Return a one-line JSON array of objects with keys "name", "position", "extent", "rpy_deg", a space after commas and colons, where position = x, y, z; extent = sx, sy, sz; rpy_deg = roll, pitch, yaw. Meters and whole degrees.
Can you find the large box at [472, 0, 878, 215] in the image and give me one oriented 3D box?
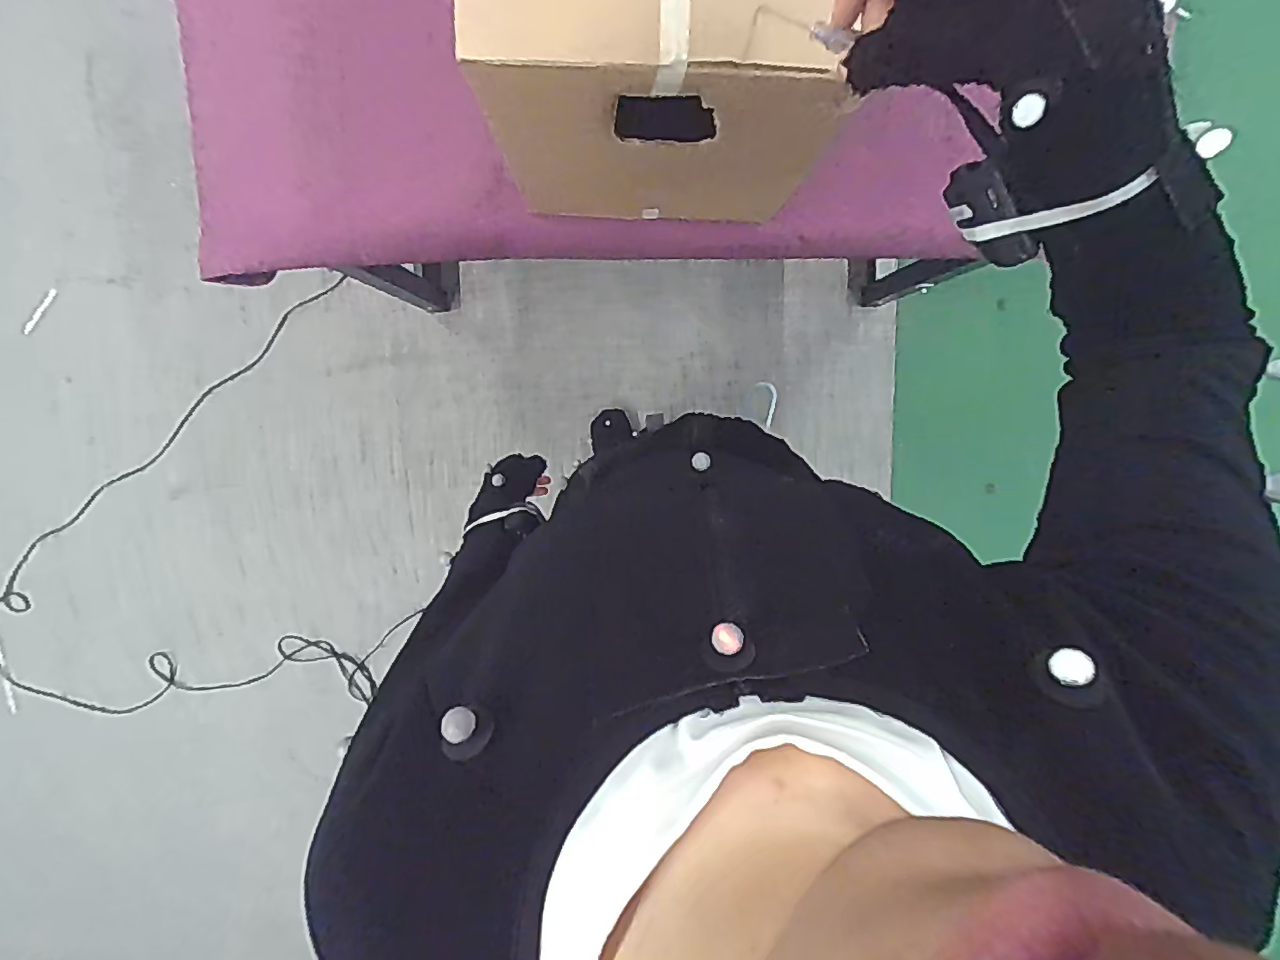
[{"name": "large box", "position": [0.022, -0.525, 0.530], "extent": [0.320, 0.320, 0.408], "rpy_deg": [1, 99, -2]}]
